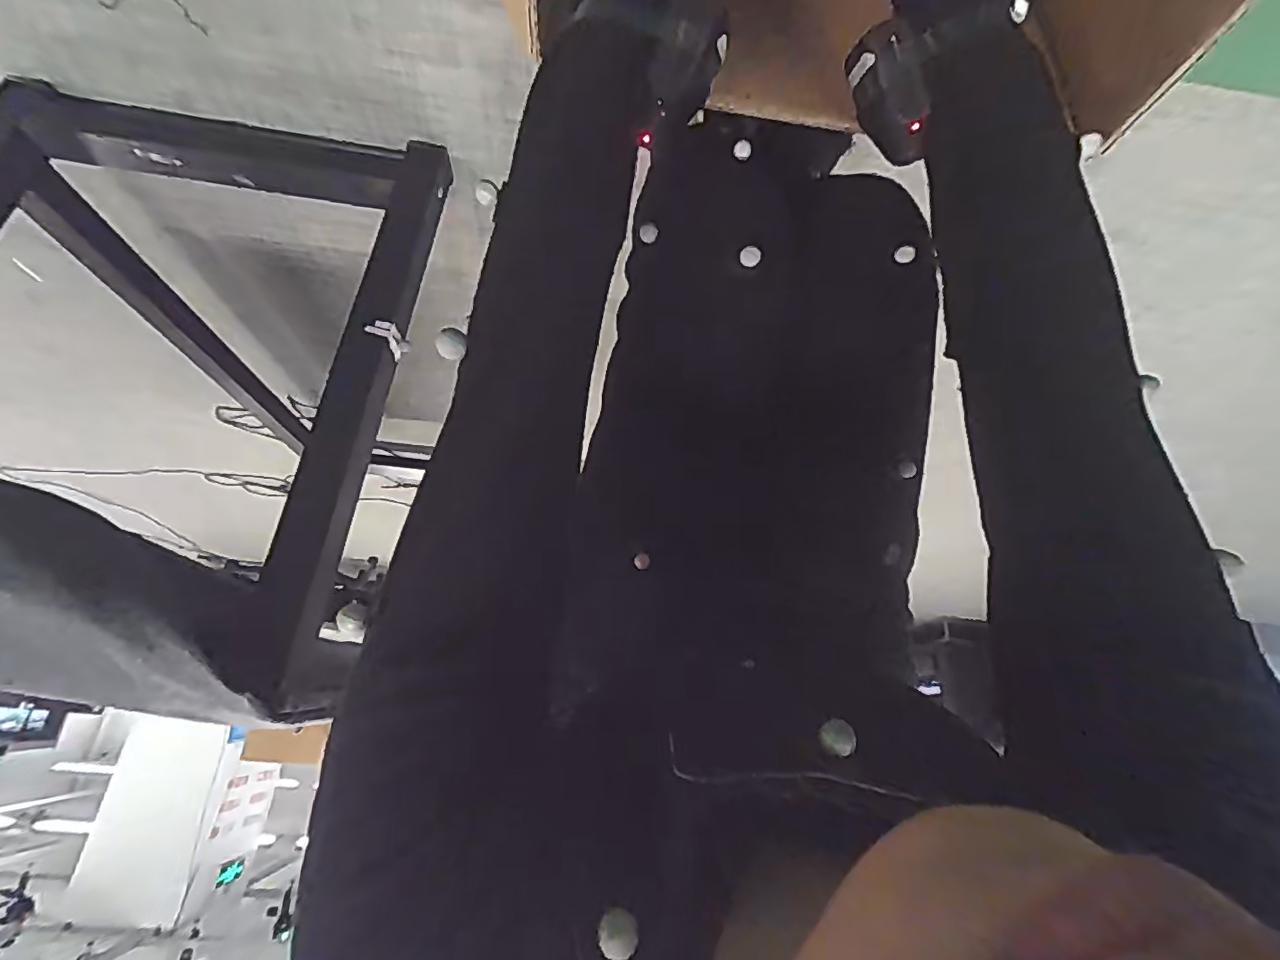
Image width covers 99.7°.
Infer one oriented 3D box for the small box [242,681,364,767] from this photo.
[{"bbox_3d":[-0.780,0.568,1.273,0.168,0.176,0.179,6,159,-3],"label":"small box"}]
